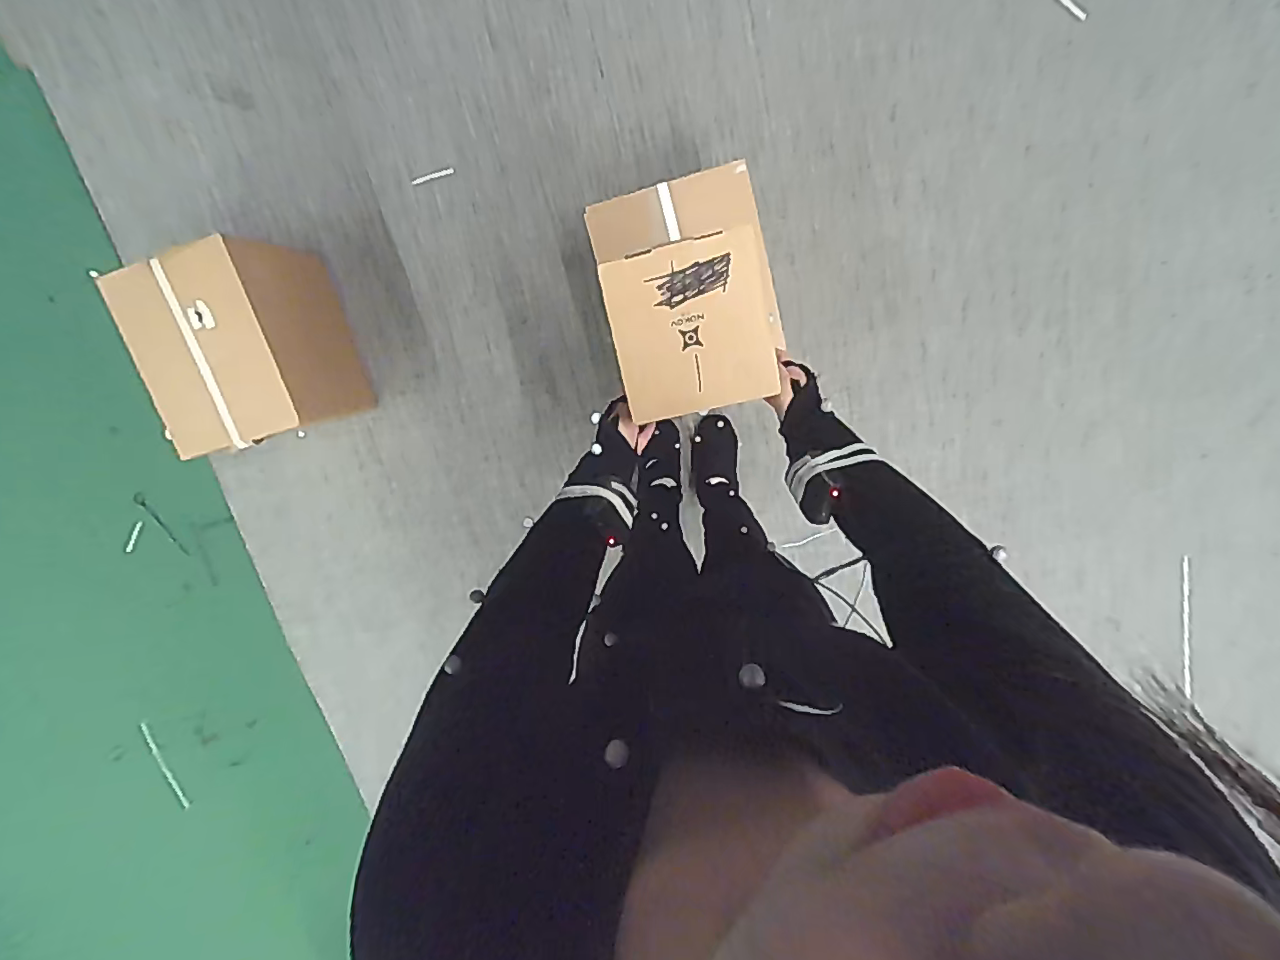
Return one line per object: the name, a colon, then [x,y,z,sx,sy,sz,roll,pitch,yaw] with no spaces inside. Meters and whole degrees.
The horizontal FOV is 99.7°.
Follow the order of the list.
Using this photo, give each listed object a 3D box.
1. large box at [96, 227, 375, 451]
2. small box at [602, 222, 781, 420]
large box: [-0.913,-0.320,1.279,0.320,0.320,0.408,-13,103,8]
small box: [0.062,-0.181,0.645,0.168,0.176,0.179,-11,104,9]
